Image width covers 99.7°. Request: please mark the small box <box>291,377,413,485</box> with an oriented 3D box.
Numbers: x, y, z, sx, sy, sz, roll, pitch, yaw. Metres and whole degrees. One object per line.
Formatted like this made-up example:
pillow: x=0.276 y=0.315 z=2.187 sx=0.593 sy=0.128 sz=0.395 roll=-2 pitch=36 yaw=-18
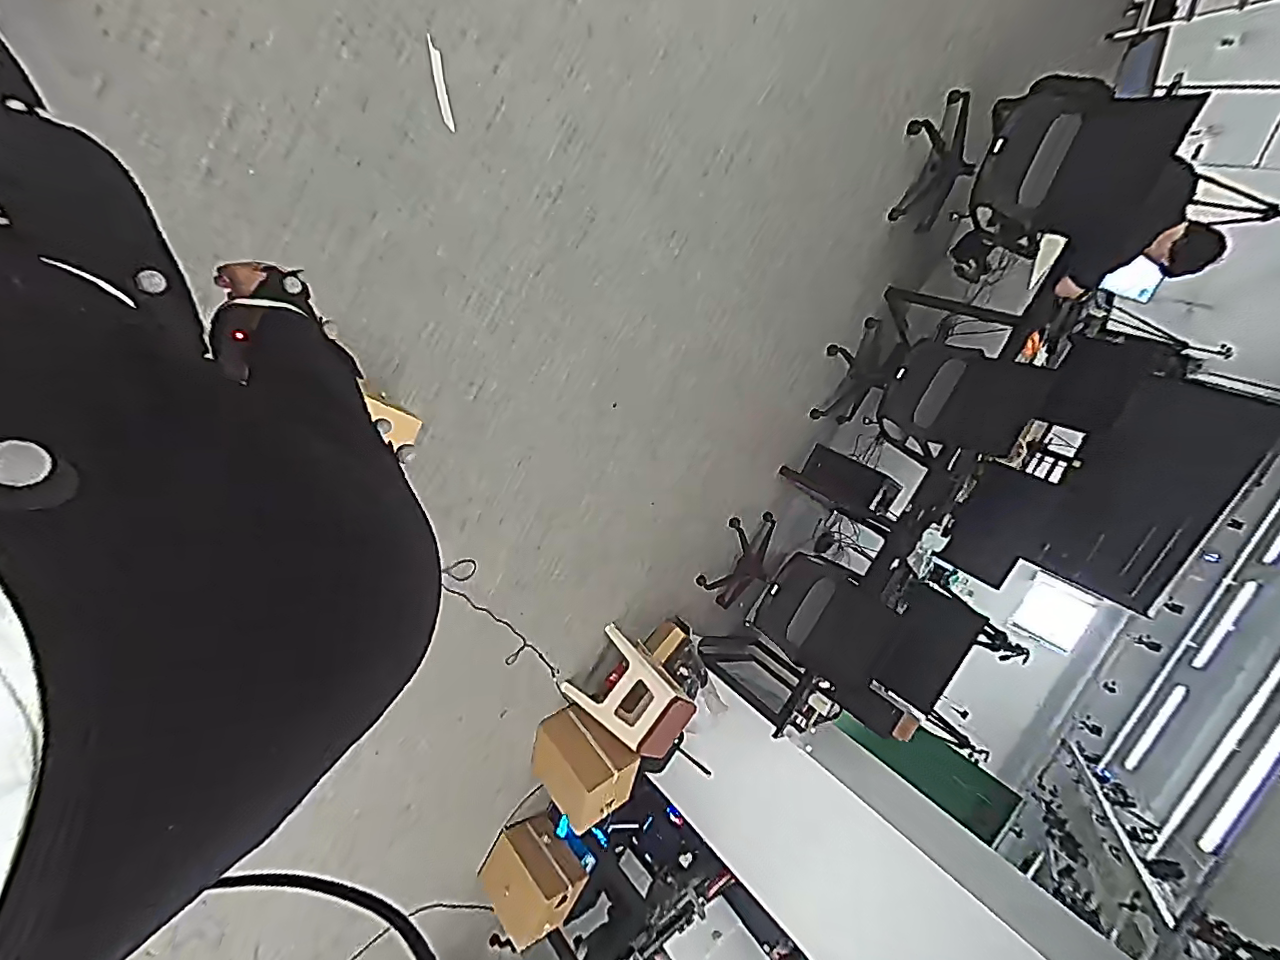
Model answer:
small box: x=-0.681 y=-0.118 z=1.271 sx=0.168 sy=0.176 sz=0.179 roll=30 pitch=90 yaw=-53
